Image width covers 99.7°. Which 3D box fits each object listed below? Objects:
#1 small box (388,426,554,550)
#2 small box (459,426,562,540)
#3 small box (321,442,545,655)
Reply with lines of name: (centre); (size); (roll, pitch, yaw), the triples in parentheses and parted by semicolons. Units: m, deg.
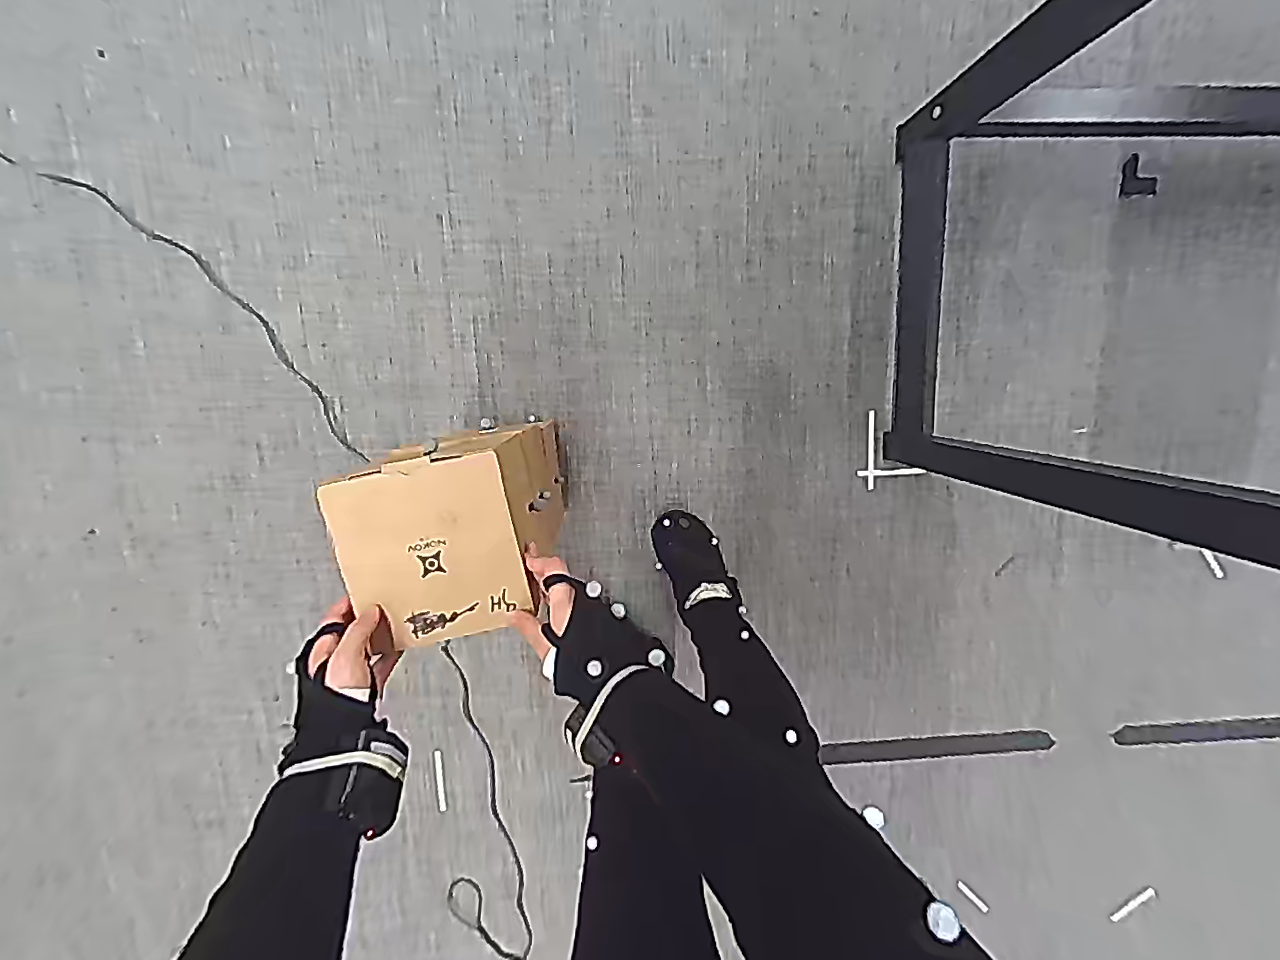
small box: (-0.218, 0.026, 0.750); (0.168, 0.176, 0.179); (-10, 99, -3)
small box: (-0.227, 0.004, 0.911); (0.168, 0.176, 0.179); (-6, 101, -3)
small box: (-0.204, 0.058, 0.588); (0.168, 0.176, 0.179); (-12, 100, -3)
